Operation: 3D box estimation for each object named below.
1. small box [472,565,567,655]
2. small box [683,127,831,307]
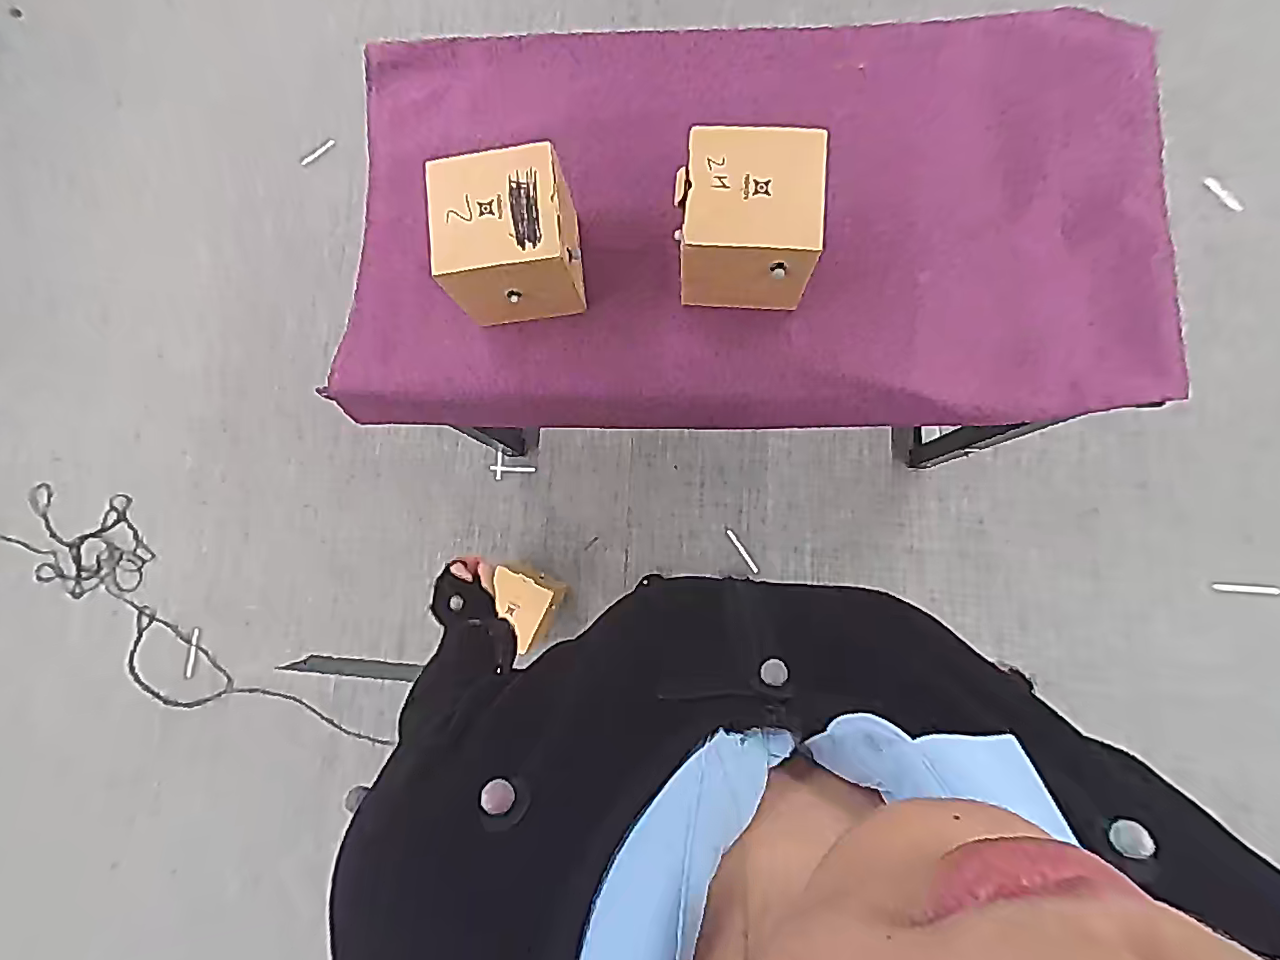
[{"bbox_3d":[-0.313,0.341,1.448,0.168,0.176,0.179,24,85,7],"label":"small box"},{"bbox_3d":[0.154,-0.356,0.757,0.179,0.176,0.168,4,82,6],"label":"small box"}]
